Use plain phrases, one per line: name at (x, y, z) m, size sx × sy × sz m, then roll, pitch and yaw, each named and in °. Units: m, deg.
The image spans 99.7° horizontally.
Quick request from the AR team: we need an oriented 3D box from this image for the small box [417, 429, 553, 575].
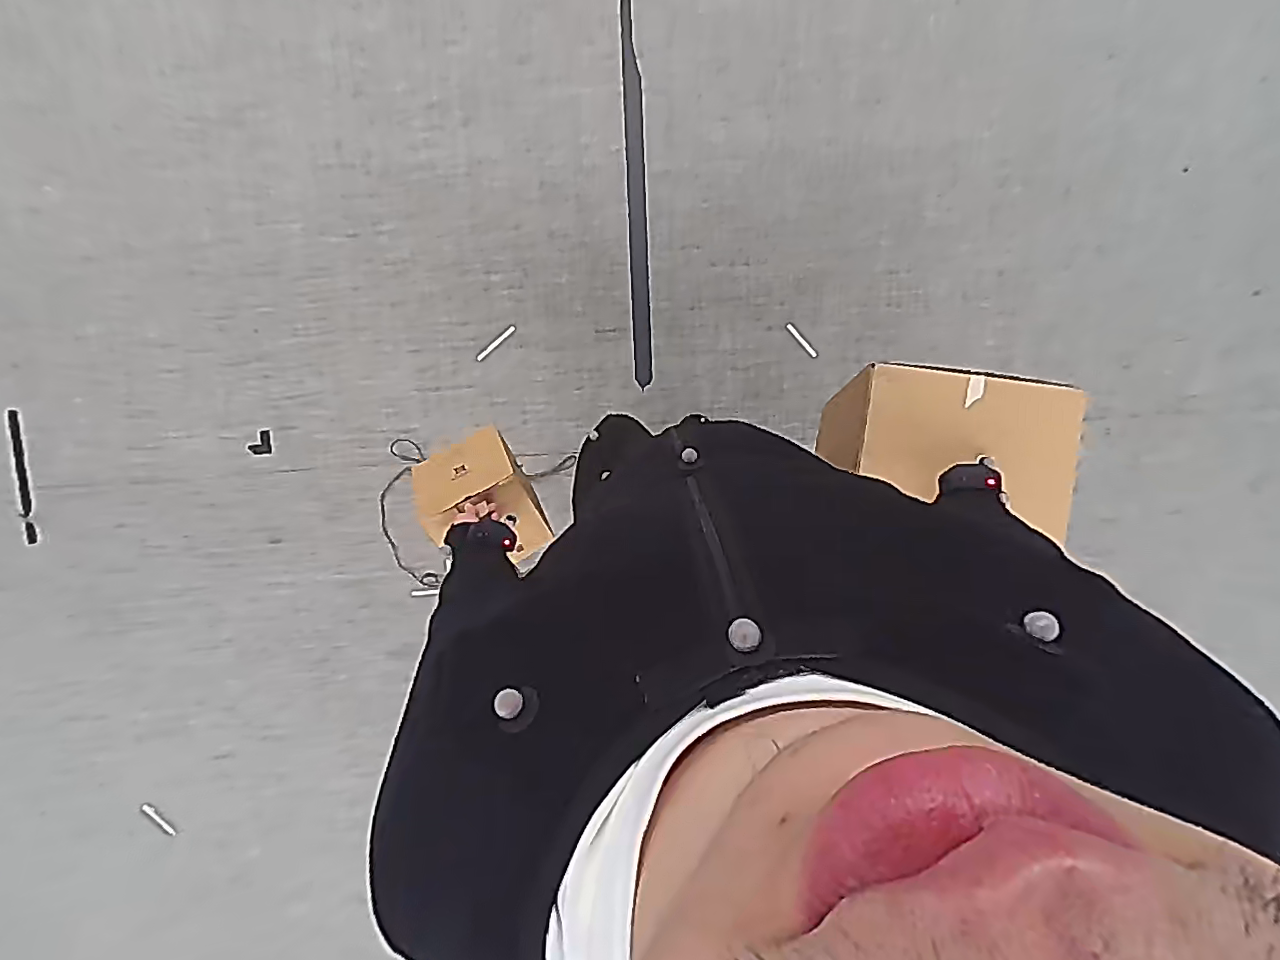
small box at (-0.275, 0.045, 0.969) m, size 0.168 × 0.179 × 0.176 m, roll -28°, pitch 129°, yaw -7°
